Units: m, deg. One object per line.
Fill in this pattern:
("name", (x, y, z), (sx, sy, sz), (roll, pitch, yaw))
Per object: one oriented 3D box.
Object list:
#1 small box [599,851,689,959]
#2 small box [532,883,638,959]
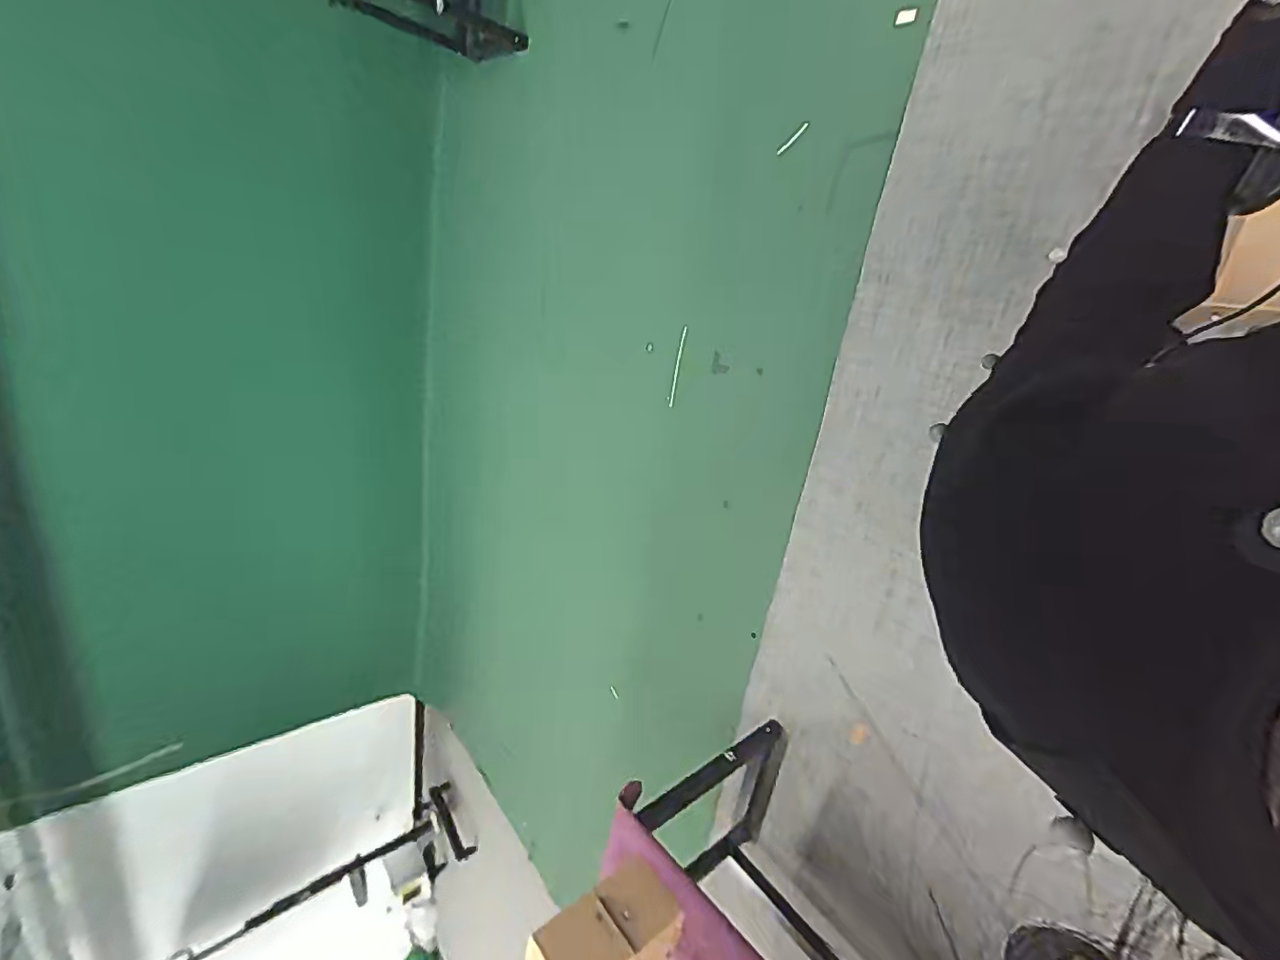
("small box", (-0.004, 1.063, 1.317), (0.179, 0.176, 0.168), (27, 116, 43))
("small box", (-0.122, 1.065, 1.202), (0.168, 0.176, 0.179), (29, 118, 41))
